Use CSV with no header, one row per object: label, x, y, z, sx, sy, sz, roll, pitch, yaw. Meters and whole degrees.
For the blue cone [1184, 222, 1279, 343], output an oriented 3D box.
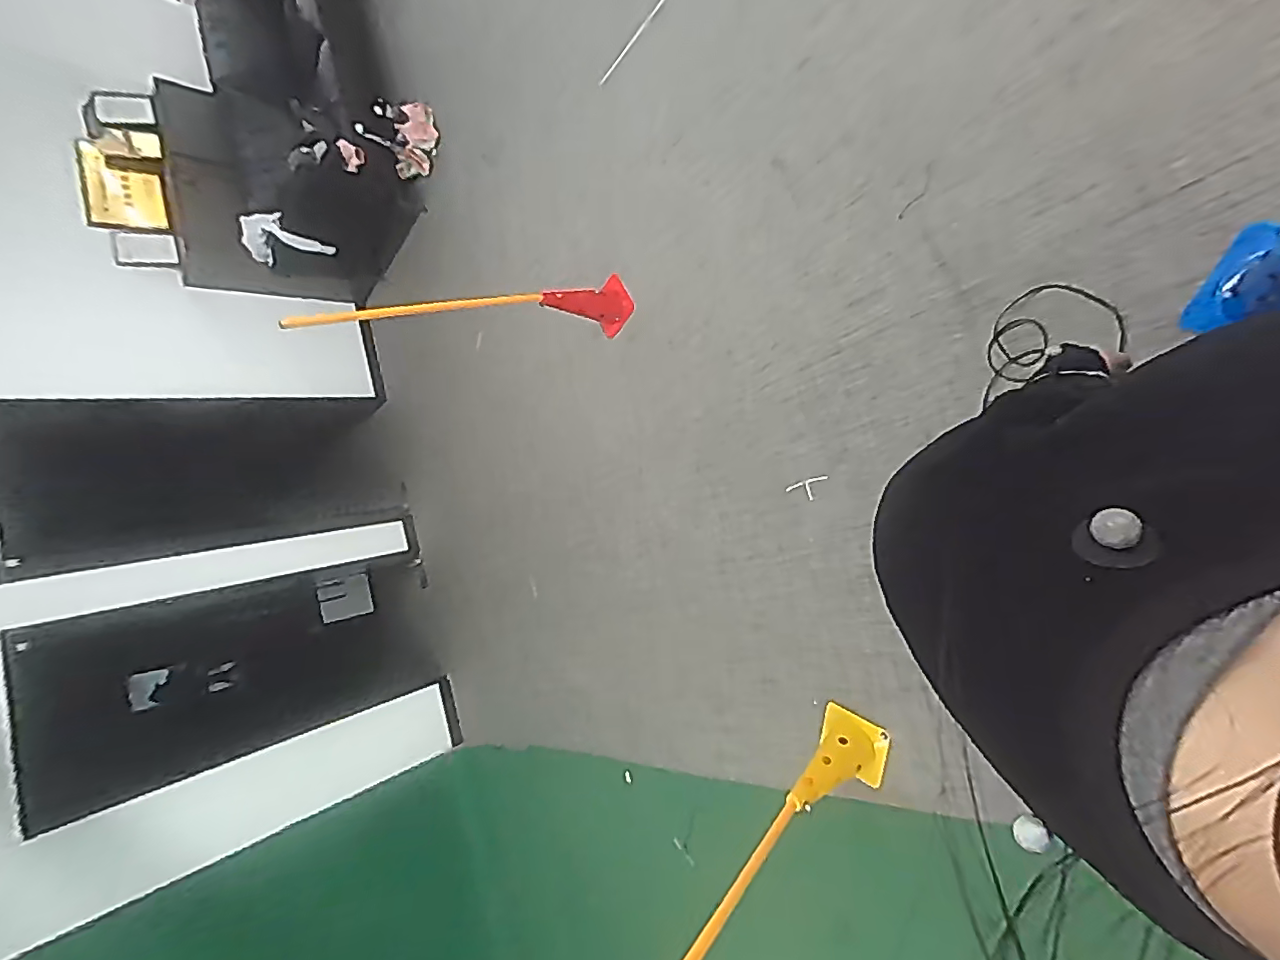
blue cone,1.015,-0.343,0.854,0.192,0.380,0.193,37,119,37
